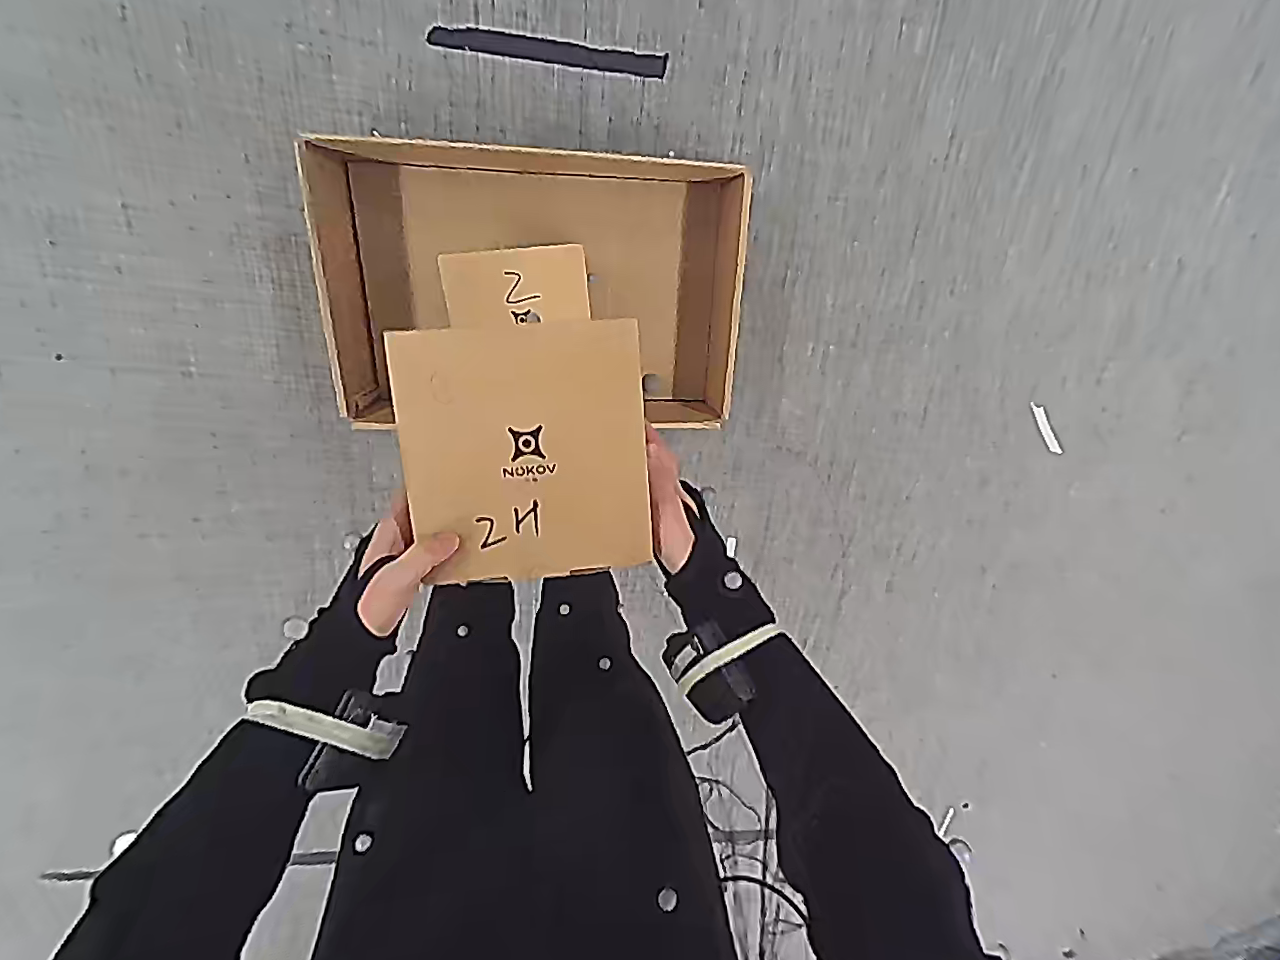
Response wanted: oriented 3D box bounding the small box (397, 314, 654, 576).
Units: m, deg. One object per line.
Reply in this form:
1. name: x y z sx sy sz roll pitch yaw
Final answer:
1. small box: -0.083 -0.037 0.451 0.168 0.176 0.179 -4 102 -5

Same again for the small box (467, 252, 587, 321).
1. small box: -0.170 -0.267 0.868 0.168 0.176 0.179 -6 114 -6
